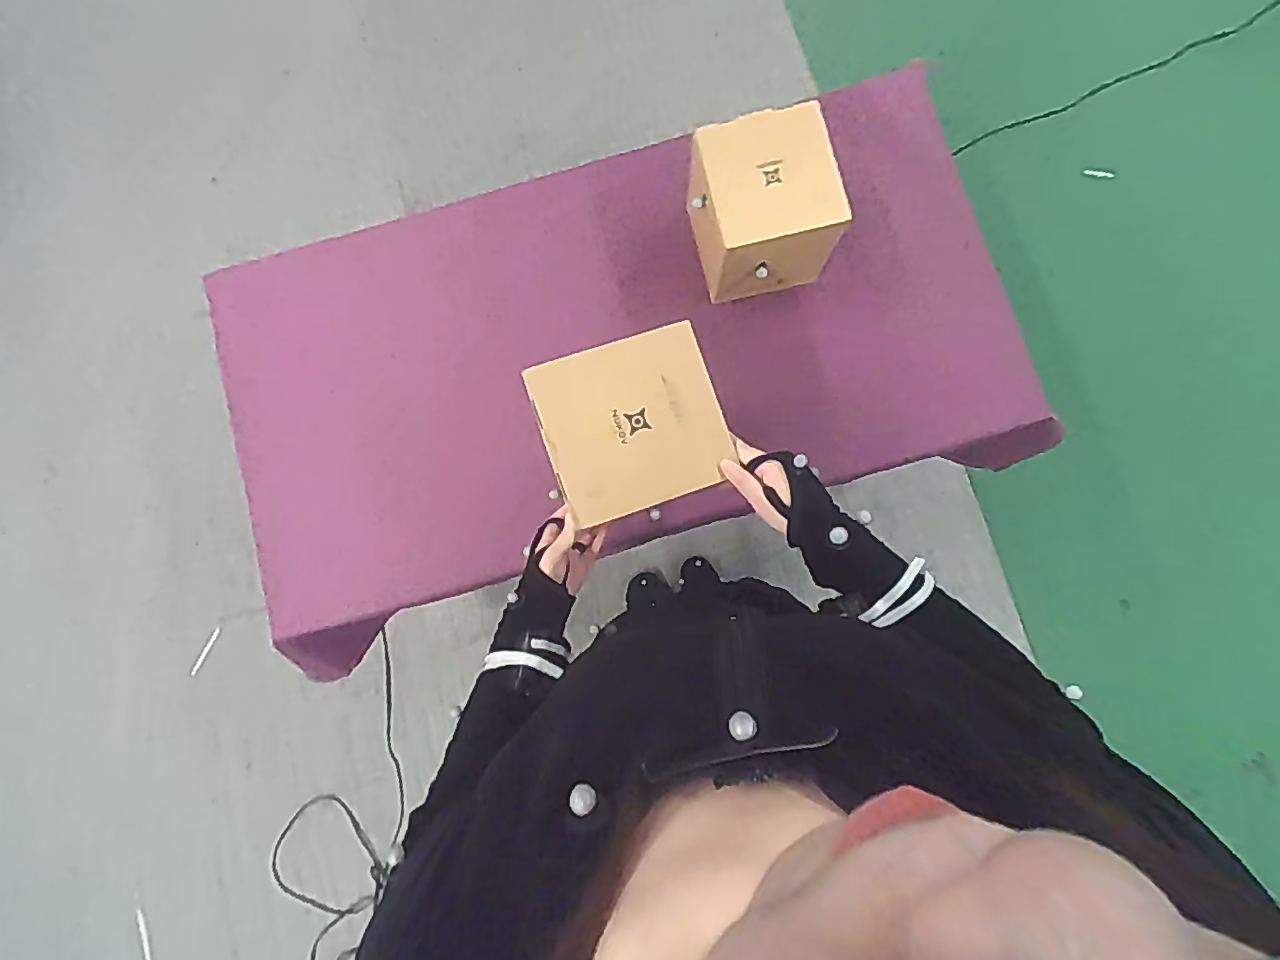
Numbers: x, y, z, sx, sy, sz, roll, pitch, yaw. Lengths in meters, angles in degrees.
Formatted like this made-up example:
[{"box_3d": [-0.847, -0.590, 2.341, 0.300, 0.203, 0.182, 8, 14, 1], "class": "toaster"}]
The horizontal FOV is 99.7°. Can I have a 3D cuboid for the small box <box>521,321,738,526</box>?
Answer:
[{"box_3d": [-0.016, -0.049, 0.600, 0.179, 0.176, 0.168, -18, 87, -7], "class": "small box"}]

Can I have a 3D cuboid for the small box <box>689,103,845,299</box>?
[{"box_3d": [0.169, -0.379, 0.772, 0.168, 0.176, 0.179, -13, 82, 1], "class": "small box"}]
